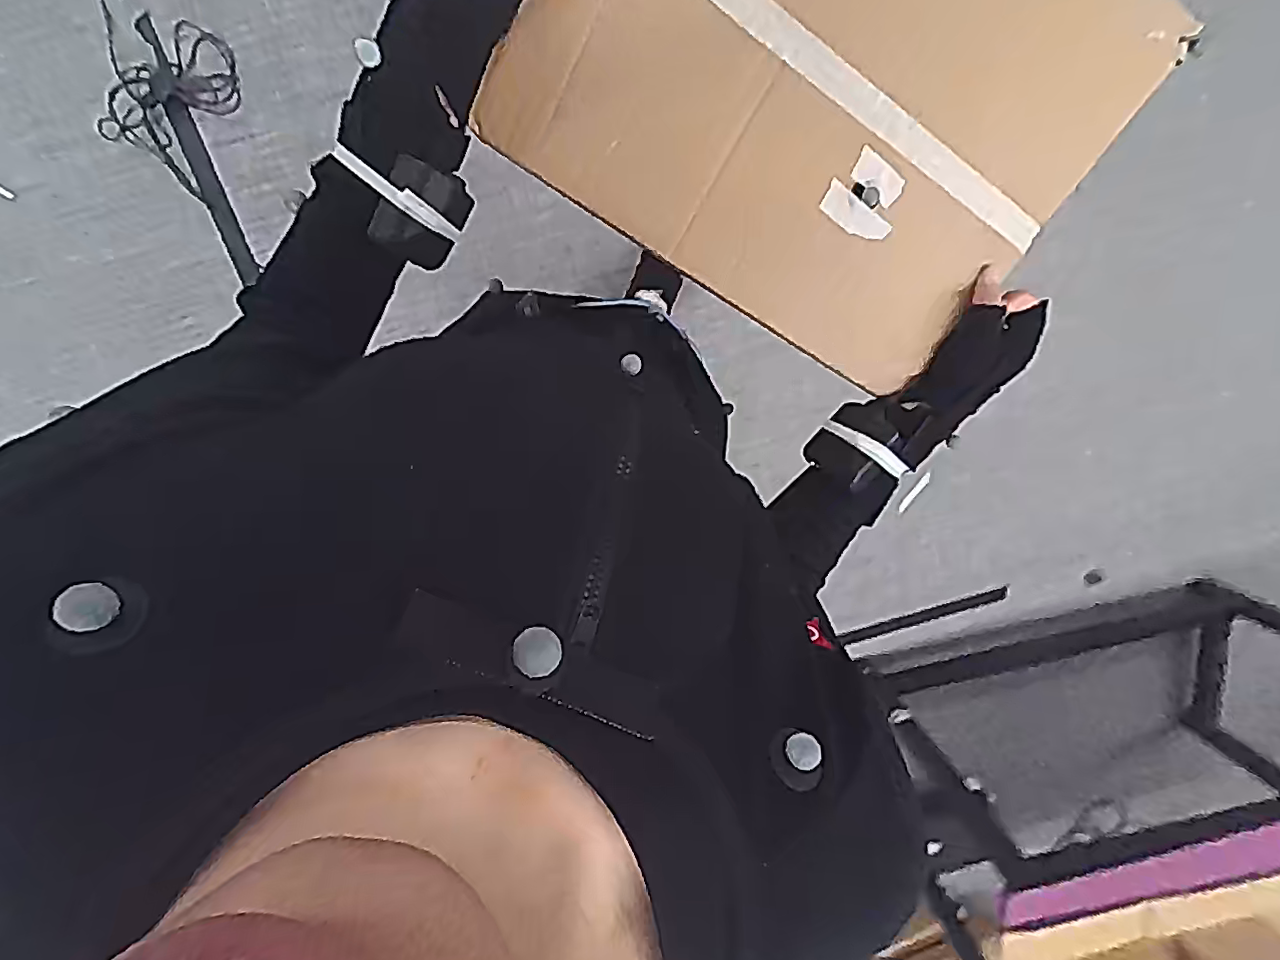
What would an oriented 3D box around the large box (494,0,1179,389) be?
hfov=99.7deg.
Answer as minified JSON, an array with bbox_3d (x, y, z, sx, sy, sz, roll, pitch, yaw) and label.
[{"bbox_3d":[0.127,-0.349,0.515,0.408,0.320,0.320,27,112,-17],"label":"large box"}]
